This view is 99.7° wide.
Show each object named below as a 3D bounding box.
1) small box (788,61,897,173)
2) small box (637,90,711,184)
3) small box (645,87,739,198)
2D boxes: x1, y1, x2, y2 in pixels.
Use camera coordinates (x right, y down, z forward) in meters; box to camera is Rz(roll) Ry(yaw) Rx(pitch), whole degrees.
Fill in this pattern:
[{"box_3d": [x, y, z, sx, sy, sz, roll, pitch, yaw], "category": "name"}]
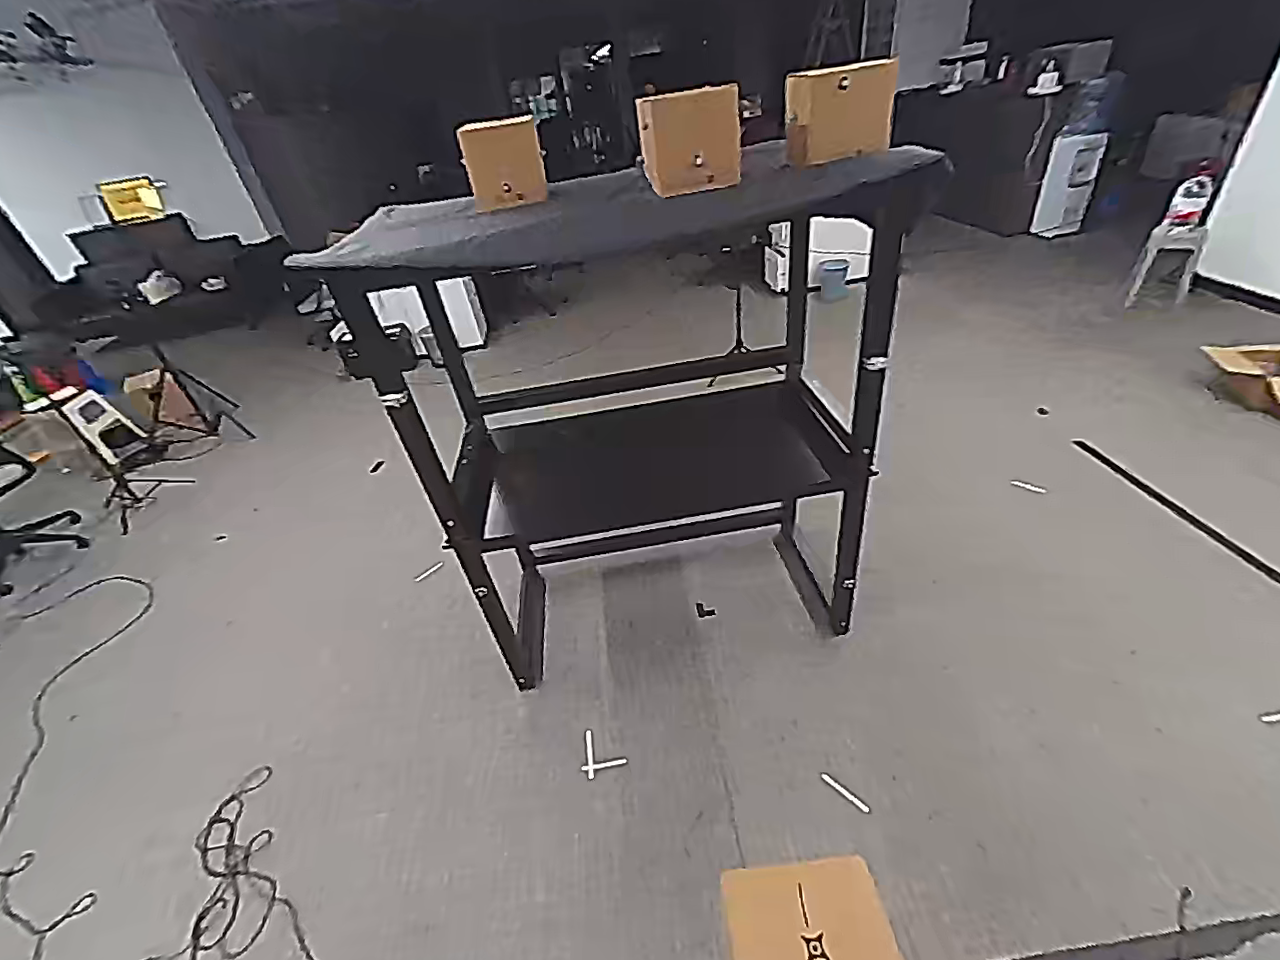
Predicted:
[{"box_3d": [0.408, -0.751, 1.126, 0.168, 0.176, 0.179, -8, 35, 3], "category": "small box"}, {"box_3d": [0.093, -0.838, 1.319, 0.179, 0.176, 0.168, -9, 35, 1], "category": "small box"}, {"box_3d": [0.105, -0.692, 1.115, 0.168, 0.176, 0.179, -9, 35, 2], "category": "small box"}]
